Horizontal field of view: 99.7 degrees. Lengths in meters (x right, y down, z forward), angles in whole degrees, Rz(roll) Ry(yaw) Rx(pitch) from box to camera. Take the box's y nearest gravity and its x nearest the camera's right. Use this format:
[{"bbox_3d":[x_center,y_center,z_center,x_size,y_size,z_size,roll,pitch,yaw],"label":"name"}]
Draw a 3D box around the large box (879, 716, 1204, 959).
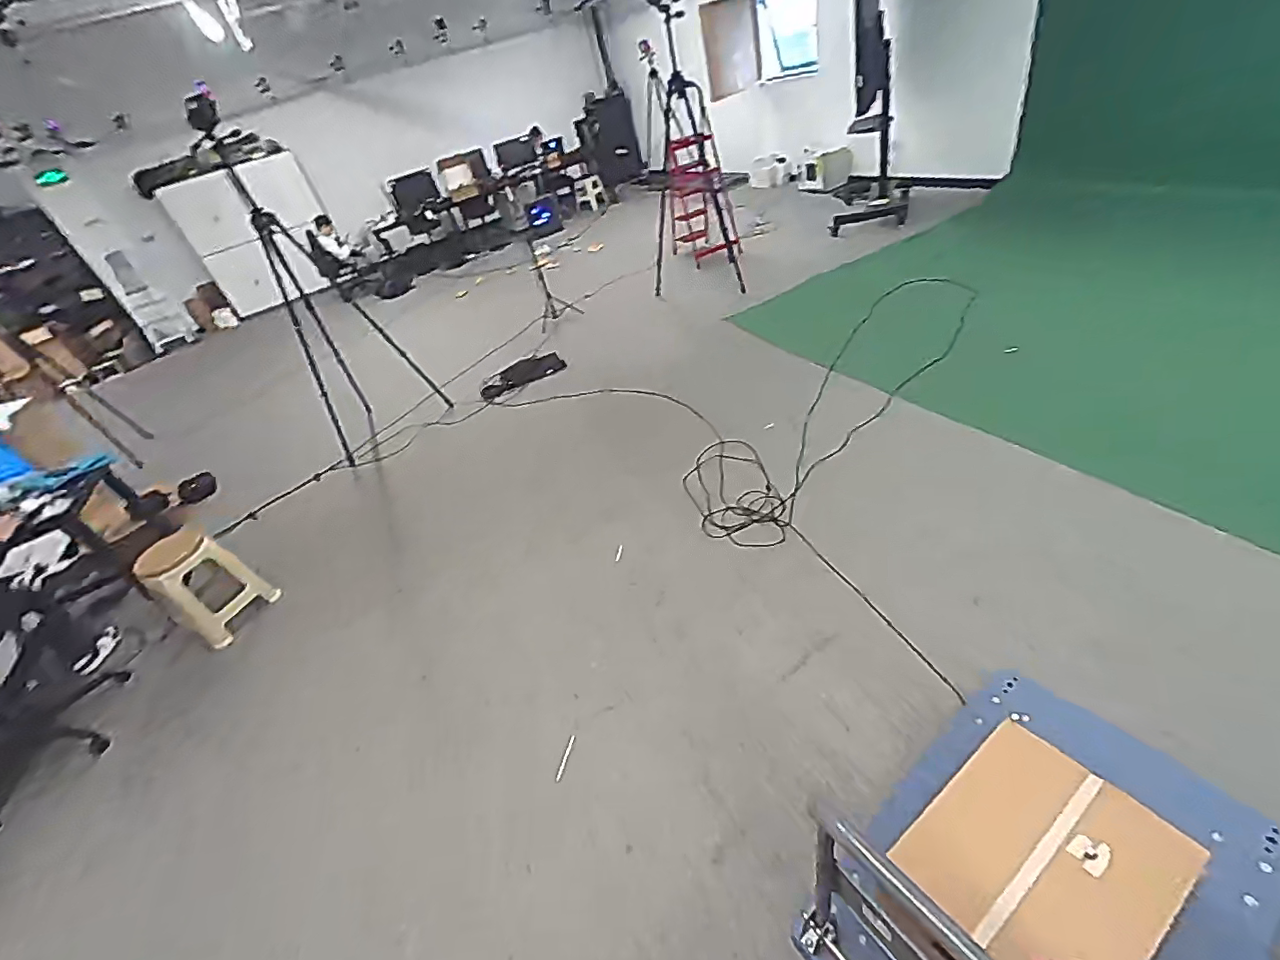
[{"bbox_3d":[0.694,0.744,0.989,0.408,0.320,0.320,-32,40,-20],"label":"large box"}]
